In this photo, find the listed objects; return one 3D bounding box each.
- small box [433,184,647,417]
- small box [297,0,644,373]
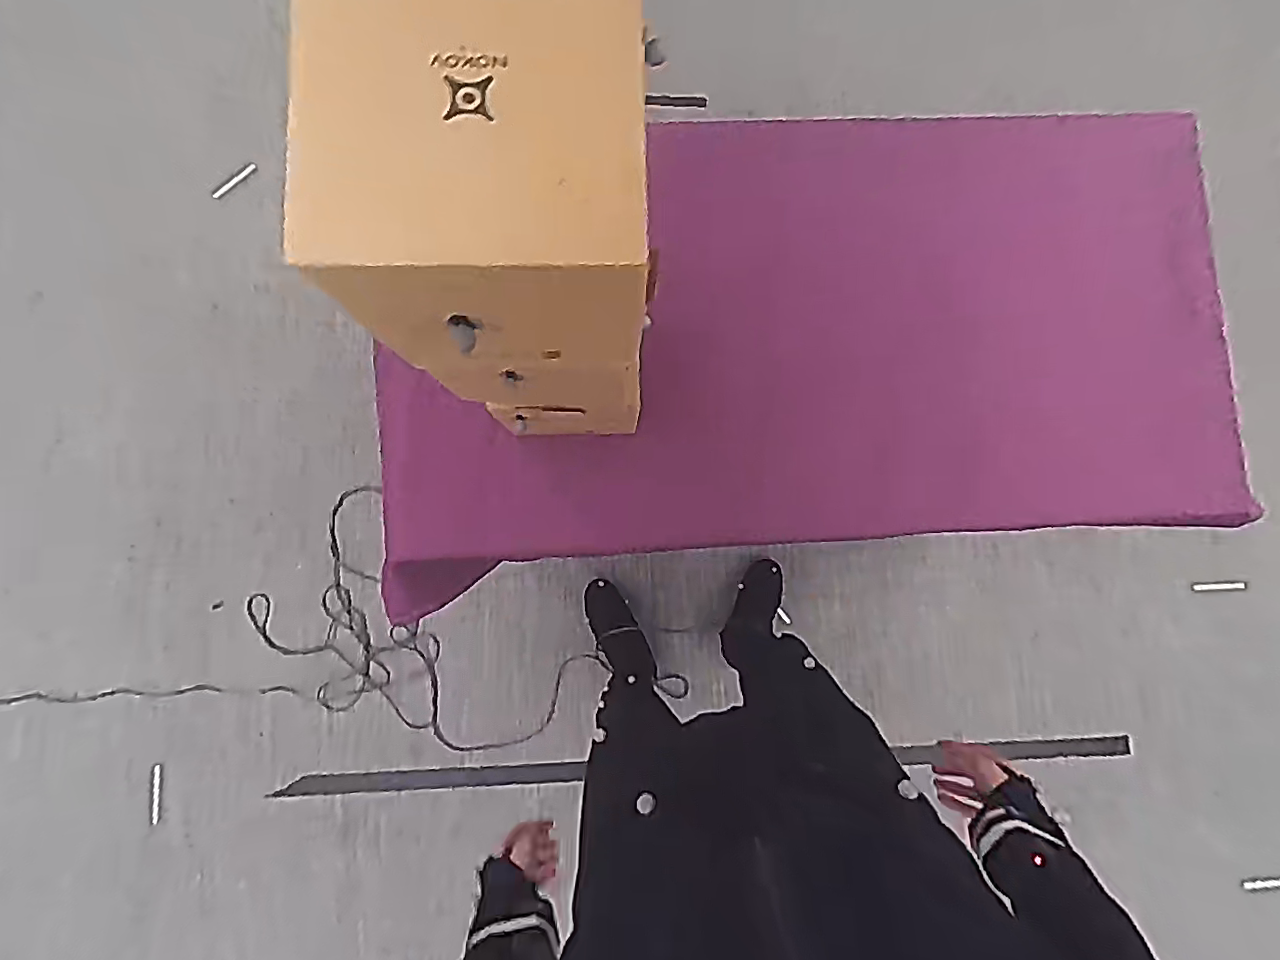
[{"bbox_3d":[-0.091,-0.159,0.503,0.179,0.176,0.168,5,85,-3],"label":"small box"},{"bbox_3d":[-0.082,-0.171,0.341,0.168,0.176,0.179,-2,84,-3],"label":"small box"}]
